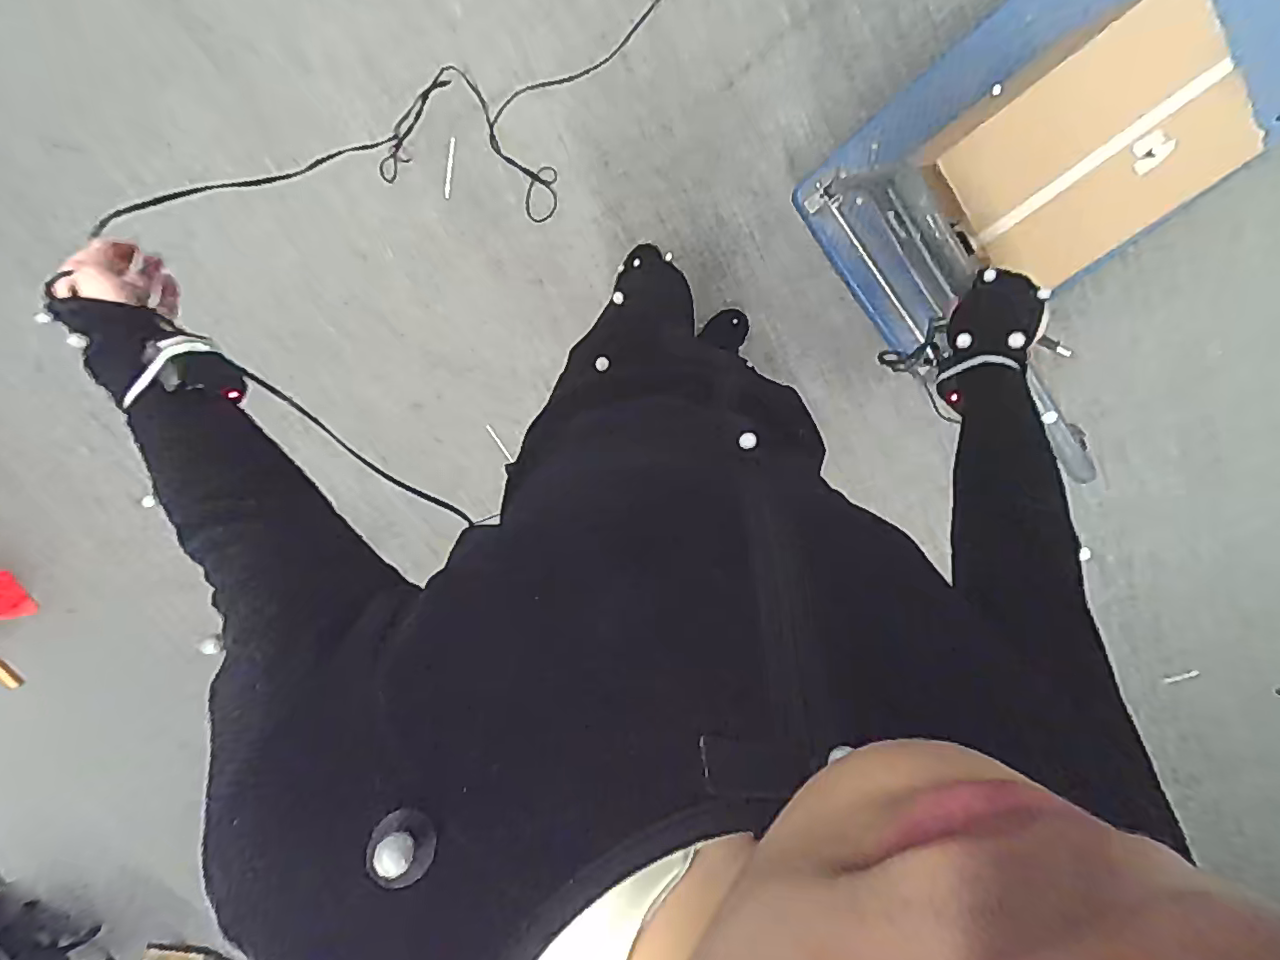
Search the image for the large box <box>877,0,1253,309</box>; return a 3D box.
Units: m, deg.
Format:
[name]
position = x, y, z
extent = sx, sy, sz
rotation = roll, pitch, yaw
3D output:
[large box]
position = 0.746, -0.583, 1.021
extent = 0.408, 0.320, 0.320
rotation = -35, 107, 17
